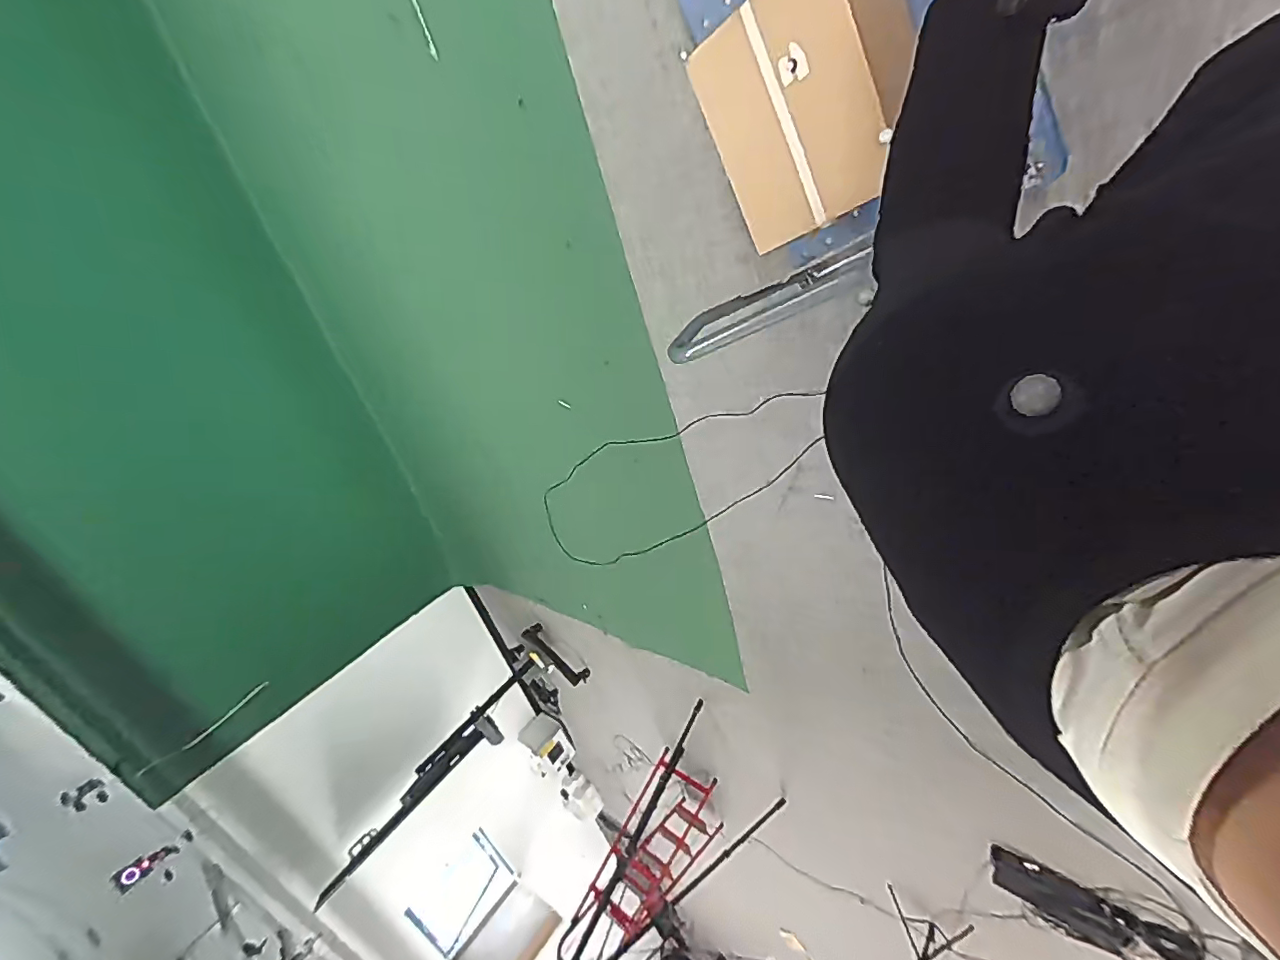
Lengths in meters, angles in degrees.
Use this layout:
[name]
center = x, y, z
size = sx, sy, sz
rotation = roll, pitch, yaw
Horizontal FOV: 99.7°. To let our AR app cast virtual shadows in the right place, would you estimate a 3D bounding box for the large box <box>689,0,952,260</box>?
[large box]
center = 0.374, -0.731, 1.096
size = 0.320, 0.320, 0.408
rotation = -10, 112, 48
